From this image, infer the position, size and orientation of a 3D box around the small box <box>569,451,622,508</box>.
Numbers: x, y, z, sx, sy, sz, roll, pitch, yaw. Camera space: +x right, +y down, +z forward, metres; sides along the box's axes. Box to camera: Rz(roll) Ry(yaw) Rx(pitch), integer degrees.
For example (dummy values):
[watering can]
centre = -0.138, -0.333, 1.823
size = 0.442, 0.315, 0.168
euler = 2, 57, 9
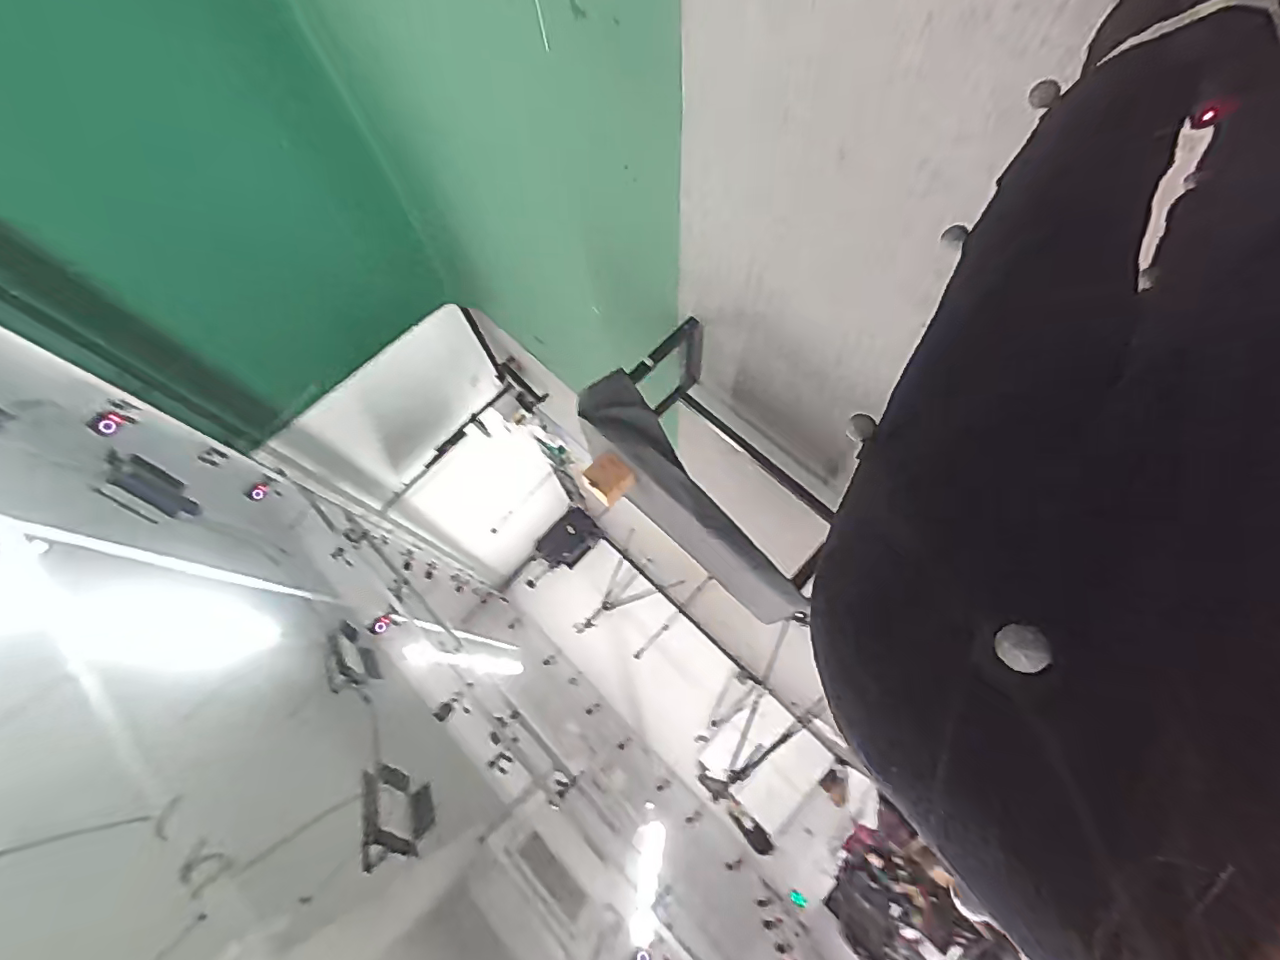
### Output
[small box]
centre = -0.195, -0.005, 2.439
size = 0.168, 0.176, 0.179
euler = 43, 168, 15
